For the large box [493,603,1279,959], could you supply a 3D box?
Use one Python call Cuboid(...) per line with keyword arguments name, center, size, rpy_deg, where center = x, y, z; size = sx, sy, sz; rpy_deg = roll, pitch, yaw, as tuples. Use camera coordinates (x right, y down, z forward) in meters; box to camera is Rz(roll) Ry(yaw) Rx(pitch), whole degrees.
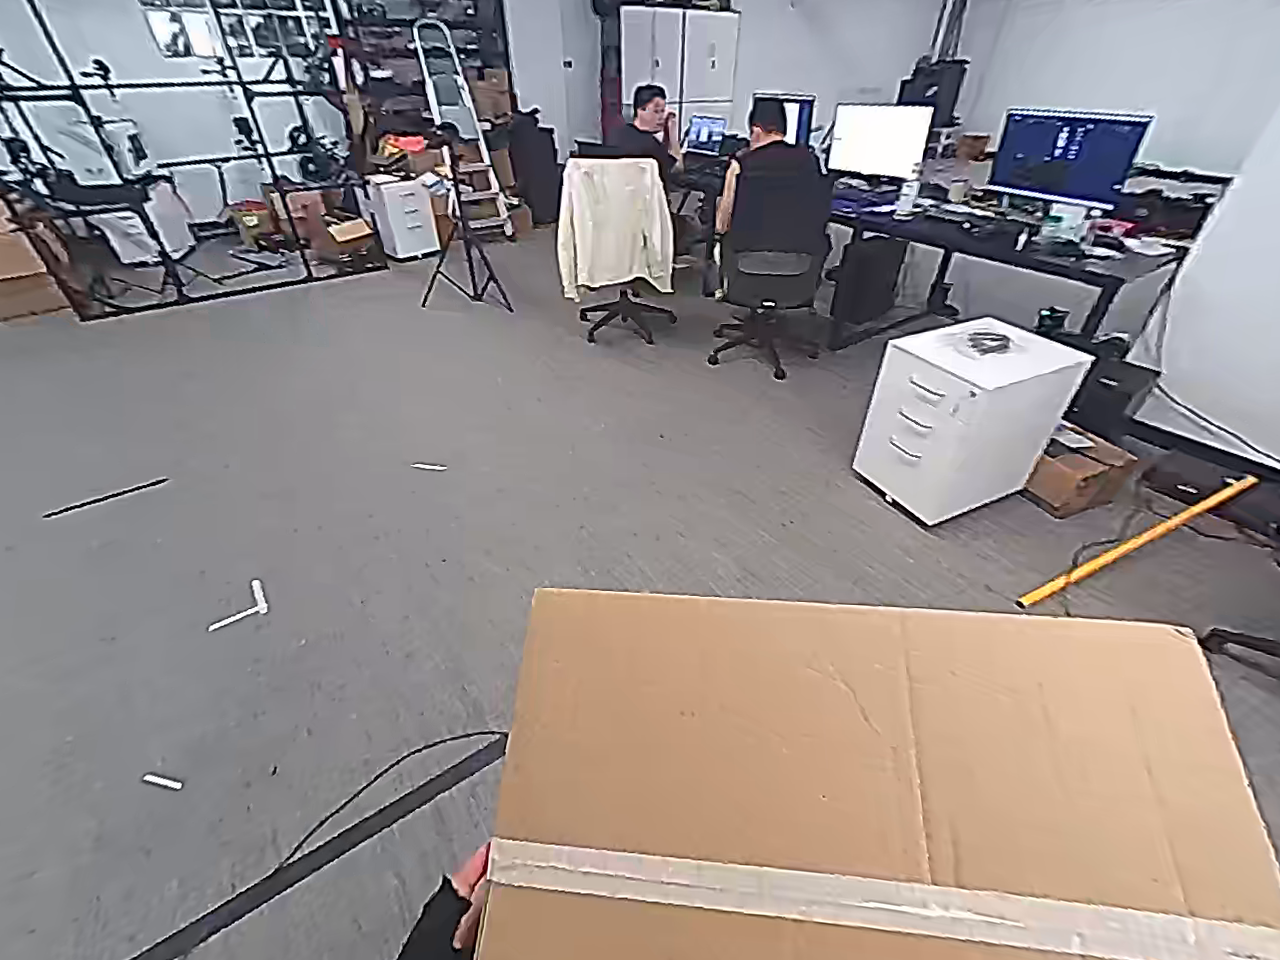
Cuboid(name="large box", center=(0.133, 0.293, 0.425), size=(0.408, 0.320, 0.320), rpy_deg=(2, 66, 8))
